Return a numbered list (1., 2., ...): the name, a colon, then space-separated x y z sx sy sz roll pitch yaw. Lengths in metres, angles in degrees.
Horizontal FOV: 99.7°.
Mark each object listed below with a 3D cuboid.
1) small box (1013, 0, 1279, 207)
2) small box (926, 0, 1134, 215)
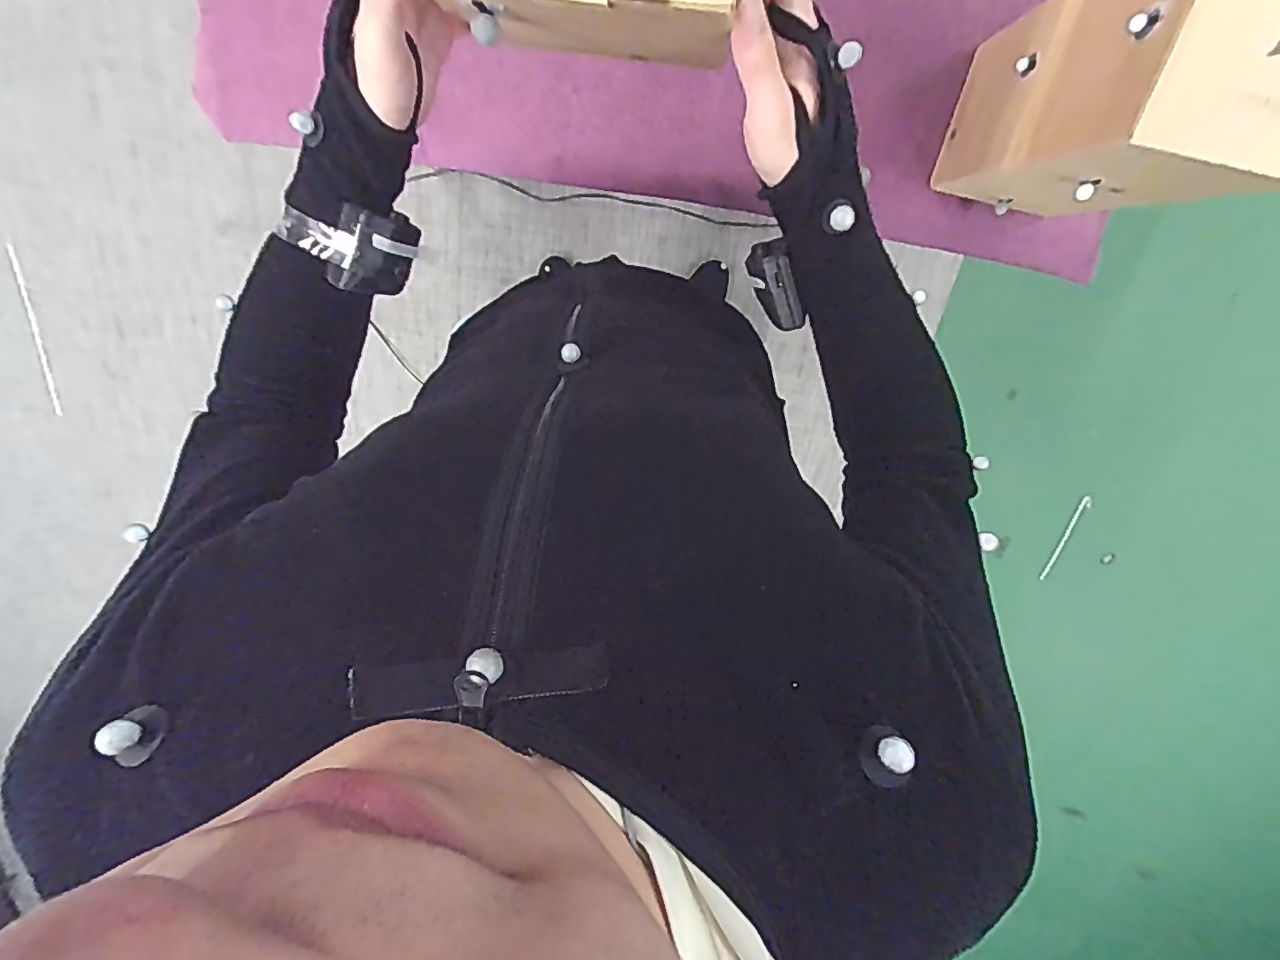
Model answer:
1. small box: 0.488 -0.365 0.487 0.168 0.176 0.179 12 112 -2
2. small box: 0.486 -0.423 0.640 0.179 0.176 0.168 11 111 -4
